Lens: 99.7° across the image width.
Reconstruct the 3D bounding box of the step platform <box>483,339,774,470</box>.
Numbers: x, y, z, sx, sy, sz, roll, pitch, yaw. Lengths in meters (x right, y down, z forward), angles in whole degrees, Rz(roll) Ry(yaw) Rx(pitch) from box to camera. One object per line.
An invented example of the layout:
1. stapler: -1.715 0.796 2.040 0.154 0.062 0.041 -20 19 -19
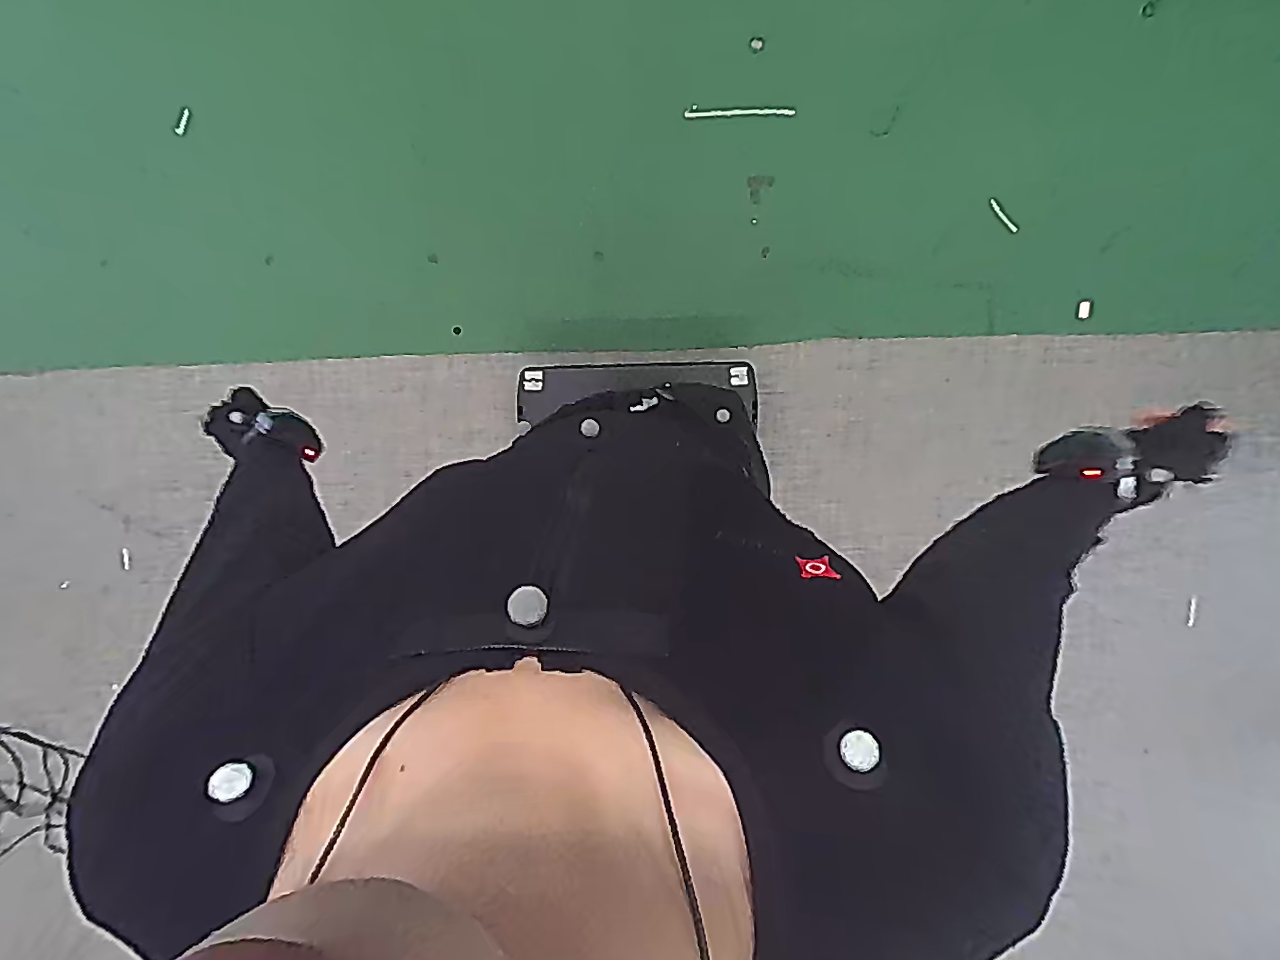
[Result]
1. step platform: -0.026 -0.189 1.356 0.684 0.204 0.286 -2 99 2
